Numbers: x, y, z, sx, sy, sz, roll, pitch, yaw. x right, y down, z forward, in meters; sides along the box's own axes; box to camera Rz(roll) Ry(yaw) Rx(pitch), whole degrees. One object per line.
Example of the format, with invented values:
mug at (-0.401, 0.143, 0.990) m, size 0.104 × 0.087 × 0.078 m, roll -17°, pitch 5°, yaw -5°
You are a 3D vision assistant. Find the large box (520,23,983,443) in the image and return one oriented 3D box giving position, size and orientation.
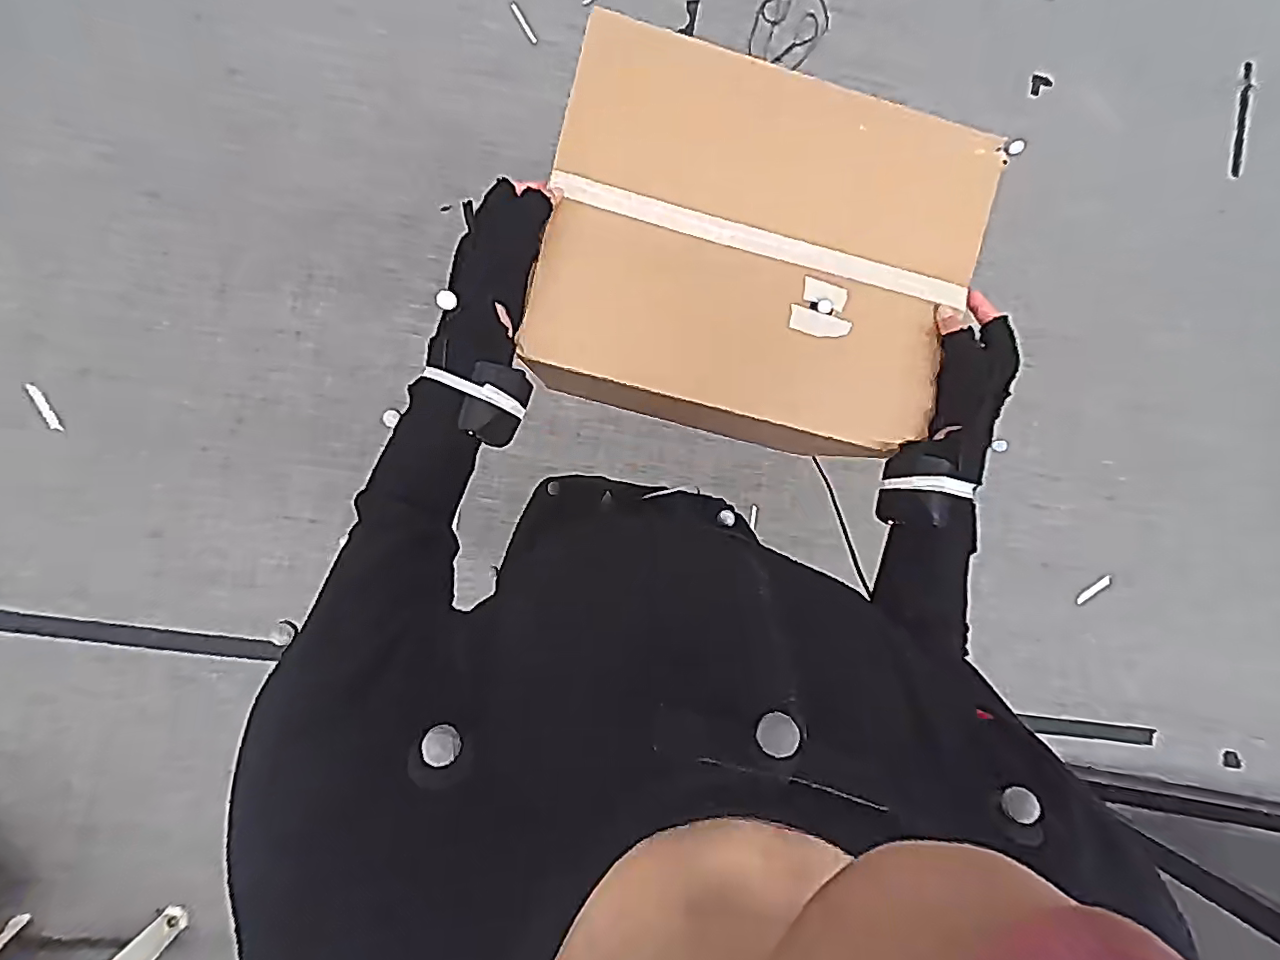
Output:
large box at (0.097, -0.238, 0.664) m, size 0.408 × 0.320 × 0.320 m, roll 14°, pitch 94°, yaw -6°
